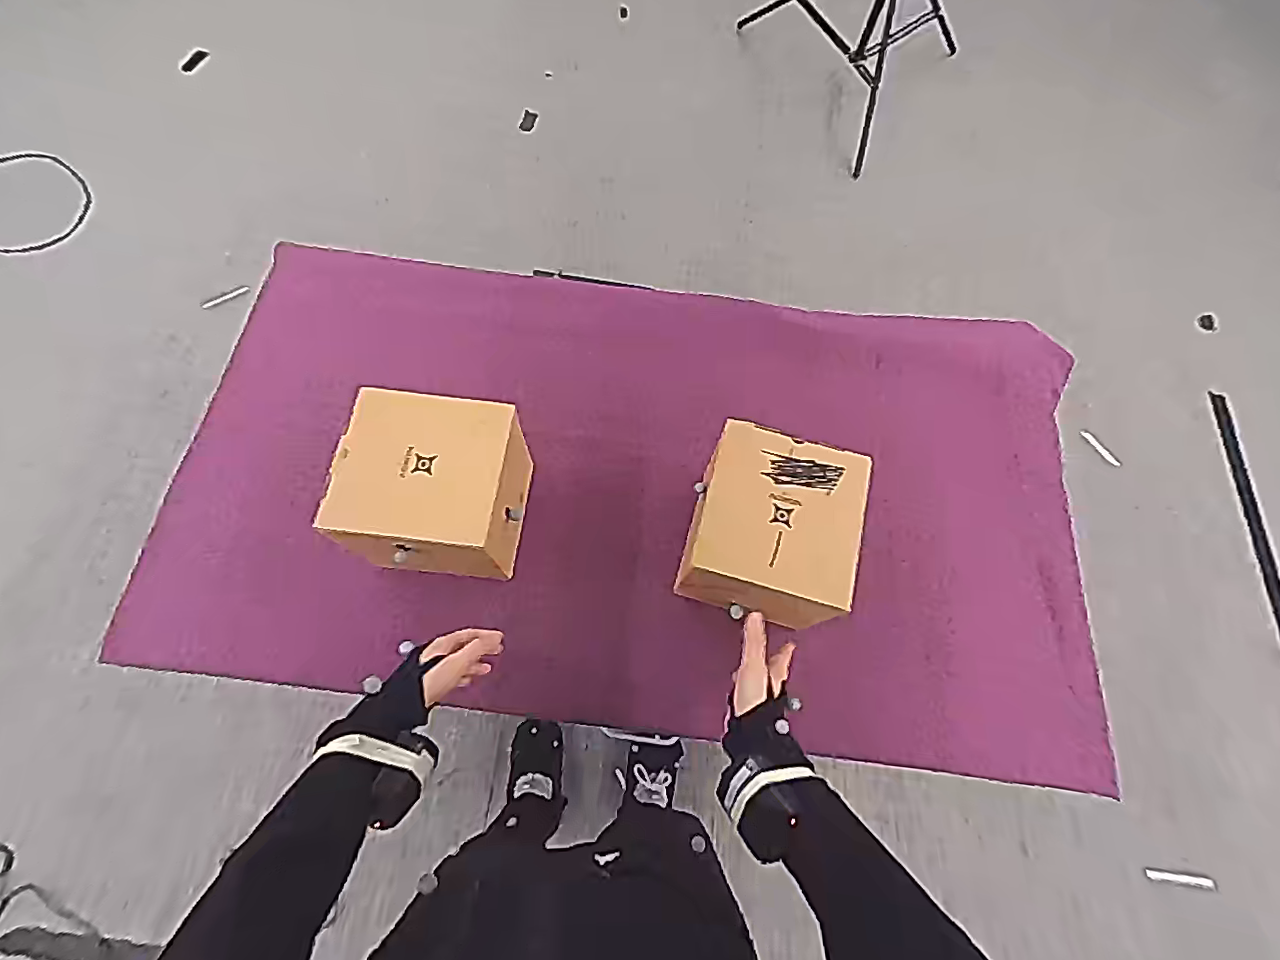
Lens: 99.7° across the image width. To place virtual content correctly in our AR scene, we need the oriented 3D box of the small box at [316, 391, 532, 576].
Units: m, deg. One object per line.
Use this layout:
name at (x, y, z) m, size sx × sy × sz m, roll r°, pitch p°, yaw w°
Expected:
small box at (-0.235, 0.014, 0.646) m, size 0.179 × 0.176 × 0.168 m, roll 6°, pitch 69°, yaw 0°

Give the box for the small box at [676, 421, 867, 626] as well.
small box at (0.146, 0.061, 0.645) m, size 0.168 × 0.176 × 0.179 m, roll 16°, pitch 70°, yaw 4°
